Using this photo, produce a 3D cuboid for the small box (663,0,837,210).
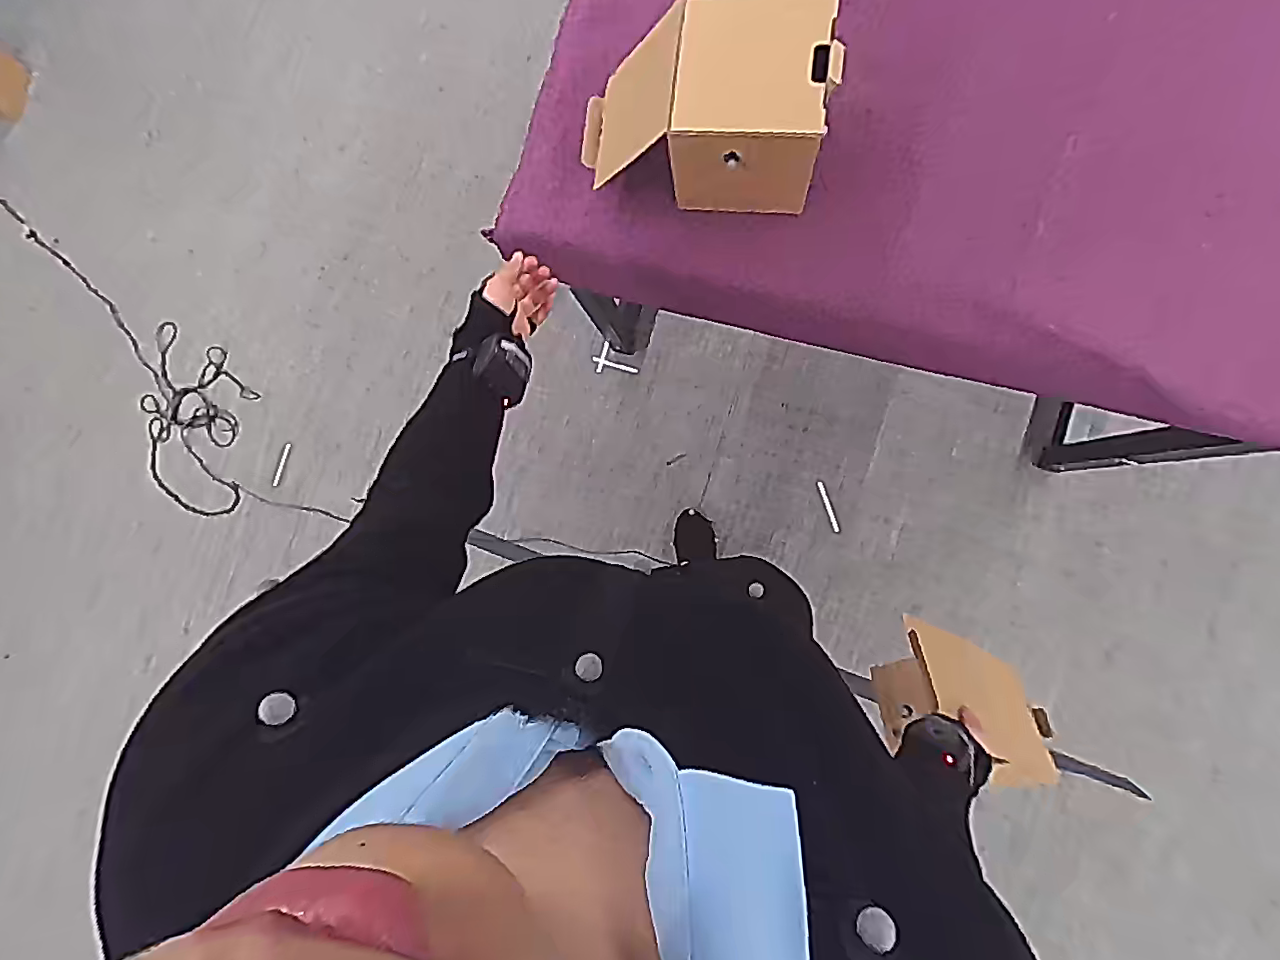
[{"bbox_3d":[0.133,-0.462,0.678,0.179,0.176,0.168,7,89,8],"label":"small box"}]
